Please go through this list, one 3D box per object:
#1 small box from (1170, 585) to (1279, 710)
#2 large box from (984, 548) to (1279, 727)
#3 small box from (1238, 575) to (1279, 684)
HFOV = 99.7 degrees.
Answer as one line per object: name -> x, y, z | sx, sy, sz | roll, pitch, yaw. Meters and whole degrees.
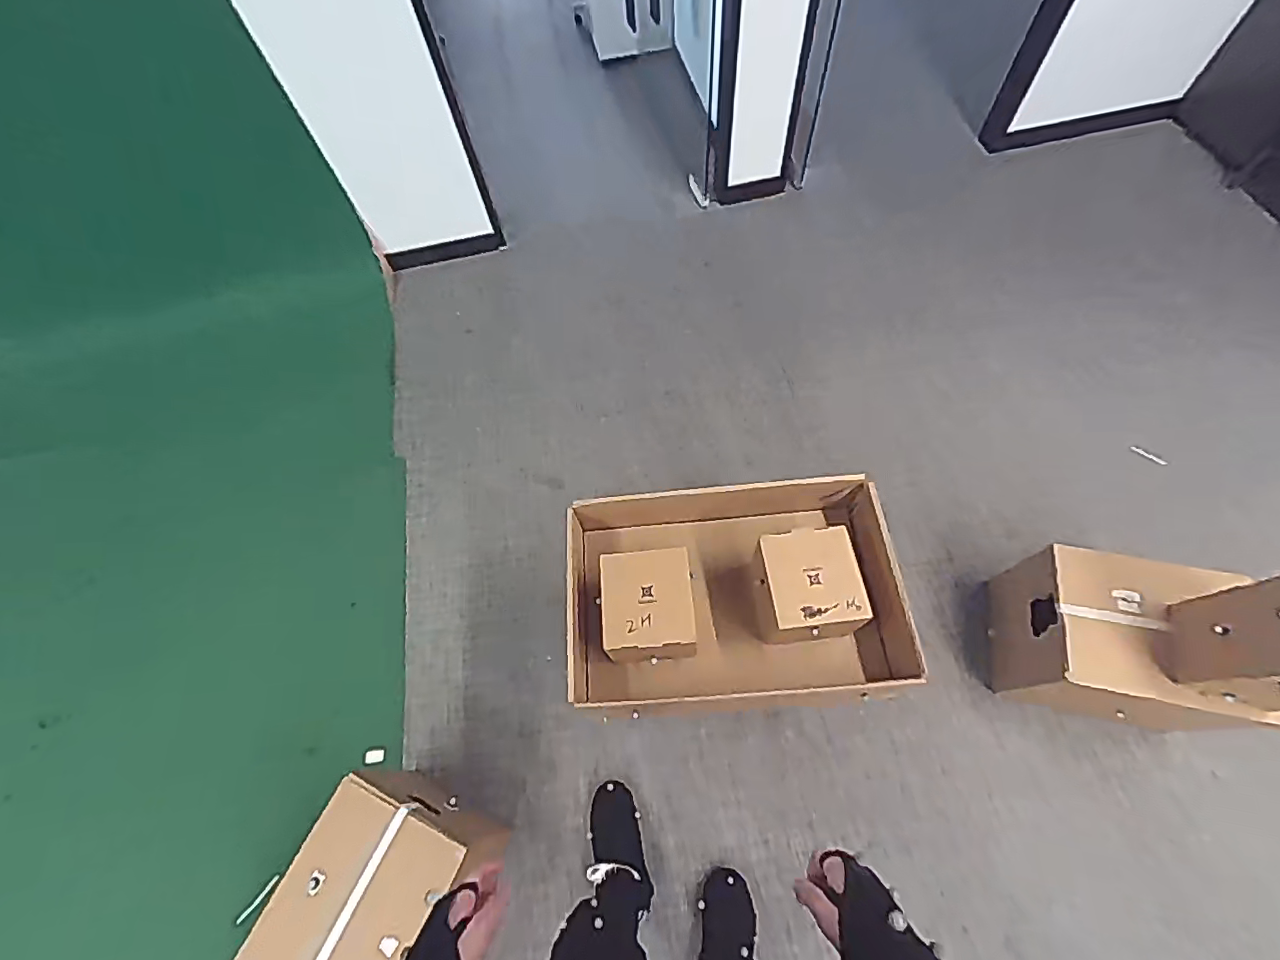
small box -> 1.175, 0.325, 1.039 | 0.168, 0.176, 0.179 | 15, 67, 12
large box -> 1.114, 0.383, 1.288 | 0.408, 0.320, 0.320 | 9, 64, 10
small box -> 1.157, 0.260, 0.890 | 0.168, 0.176, 0.179 | 16, 66, 12
